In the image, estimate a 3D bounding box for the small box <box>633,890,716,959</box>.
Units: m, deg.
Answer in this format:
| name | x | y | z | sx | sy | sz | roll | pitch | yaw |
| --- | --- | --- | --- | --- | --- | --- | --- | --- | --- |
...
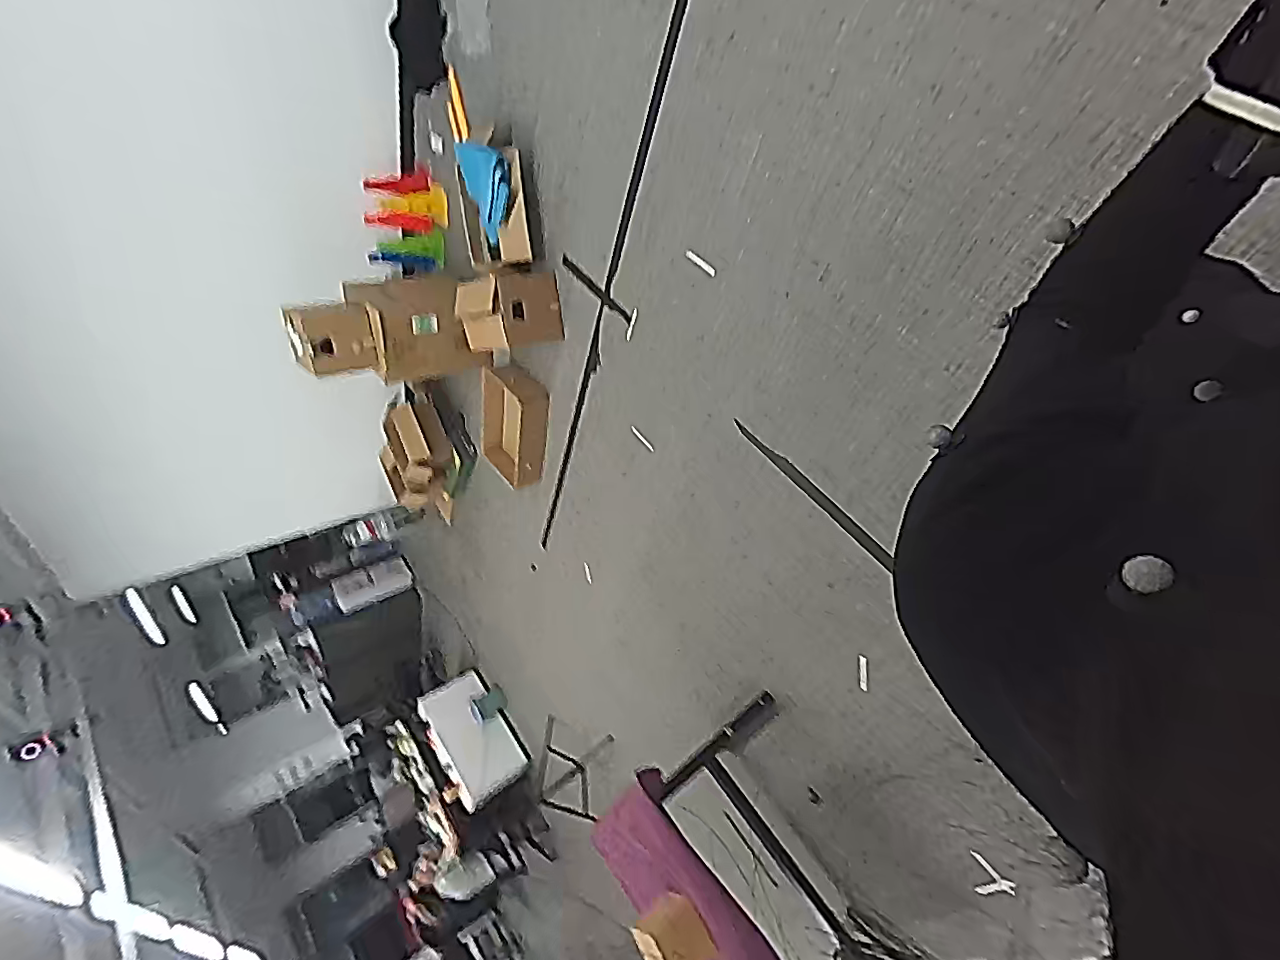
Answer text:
| name | x | y | z | sx | sy | sz | roll | pitch | yaw |
| --- | --- | --- | --- | --- | --- | --- | --- | --- | --- |
| small box | 0.115 | 1.484 | 1.748 | 0.179 | 0.176 | 0.168 | 59 | 143 | 14 |
